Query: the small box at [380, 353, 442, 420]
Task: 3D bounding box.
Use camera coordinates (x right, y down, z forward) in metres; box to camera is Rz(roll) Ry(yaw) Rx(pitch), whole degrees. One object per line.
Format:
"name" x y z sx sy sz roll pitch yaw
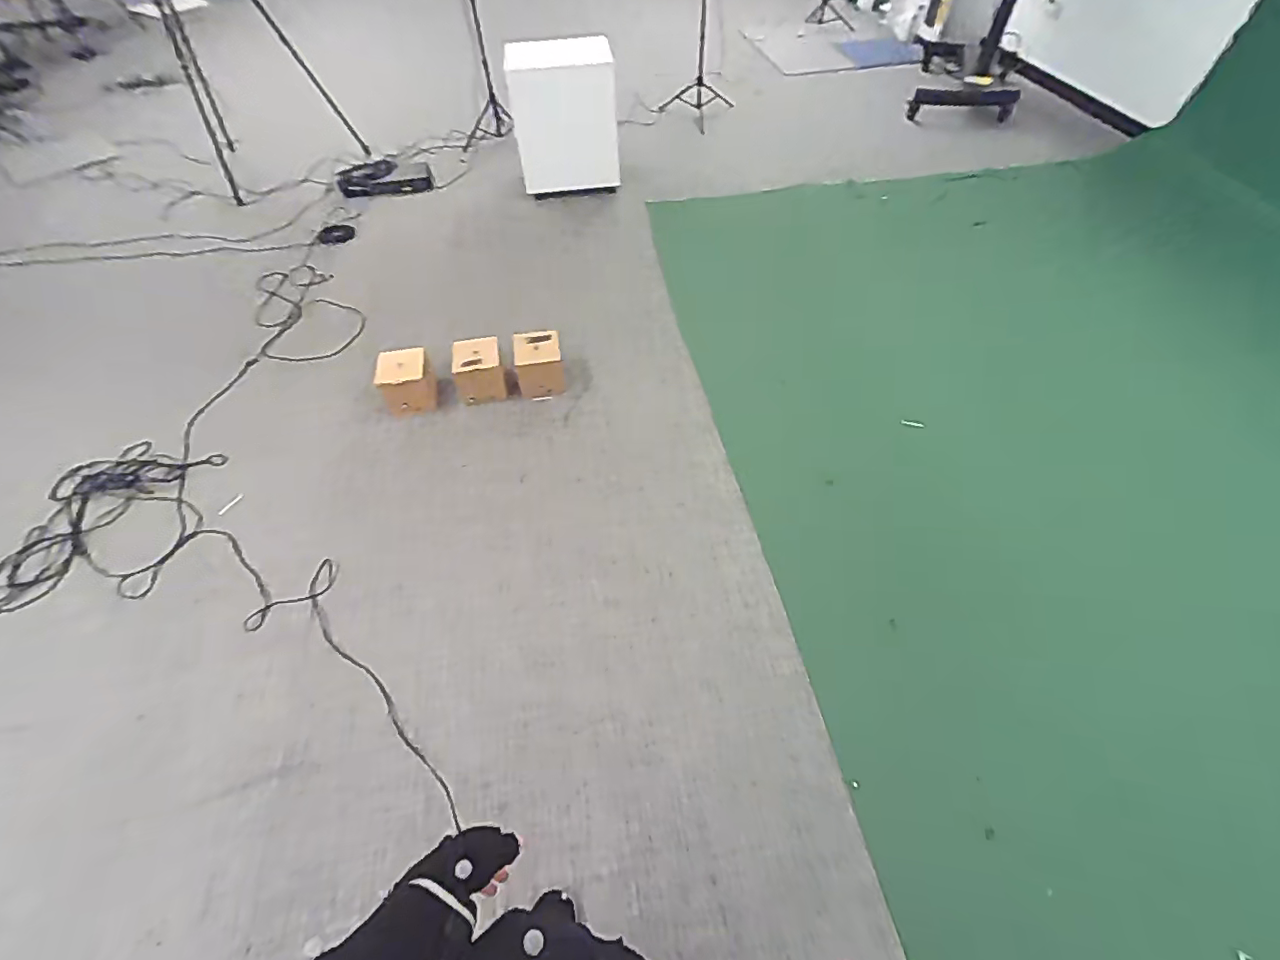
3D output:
"small box" -0.851 -0.349 2.027 0.168 0.176 0.179 -9 53 -5

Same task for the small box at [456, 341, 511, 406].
"small box" -0.590 -0.395 2.051 0.168 0.176 0.179 -10 52 -5
